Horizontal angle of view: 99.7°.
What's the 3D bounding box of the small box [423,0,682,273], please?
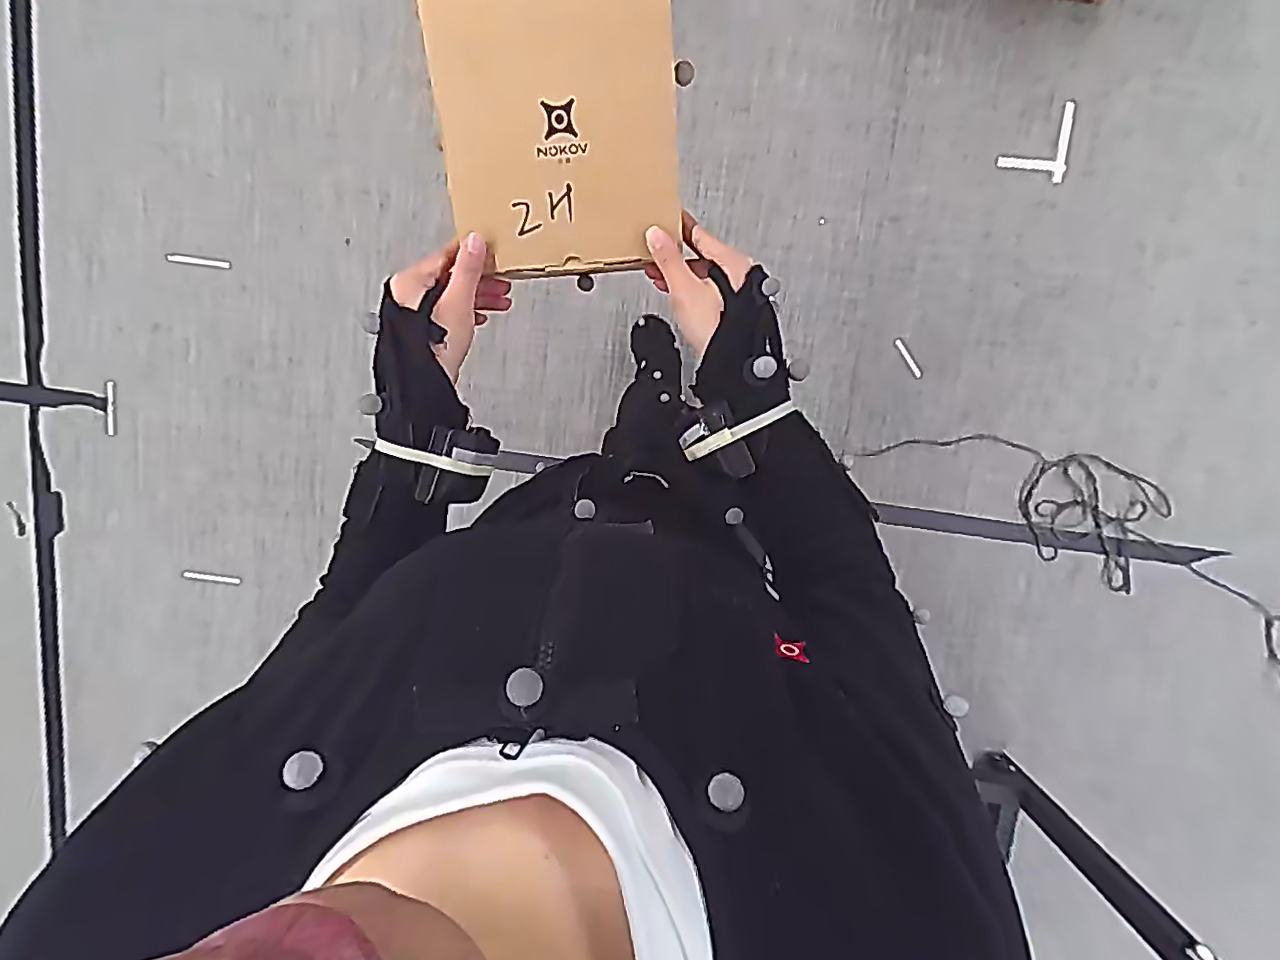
[{"bbox_3d":[-0.057,-0.273,0.448,0.168,0.176,0.179,-4,110,1],"label":"small box"}]
